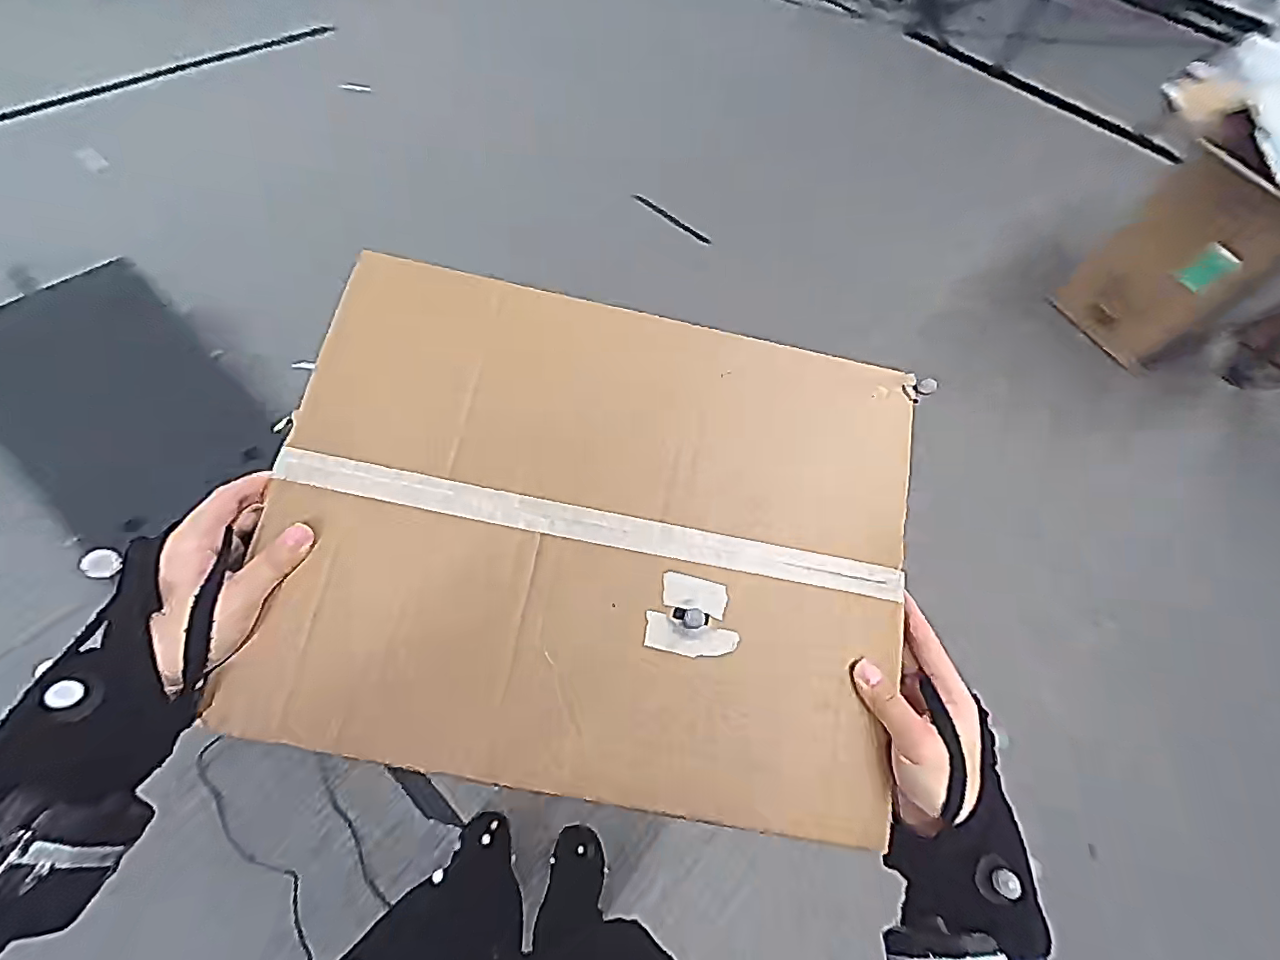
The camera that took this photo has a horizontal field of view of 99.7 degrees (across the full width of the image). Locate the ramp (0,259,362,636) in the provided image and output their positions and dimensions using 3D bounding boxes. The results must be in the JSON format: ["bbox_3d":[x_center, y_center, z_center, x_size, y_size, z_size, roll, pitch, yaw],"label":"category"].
[{"bbox_3d":[-1.234,-0.135,1.393,0.991,0.206,0.509,40,63,15],"label":"ramp"}]
